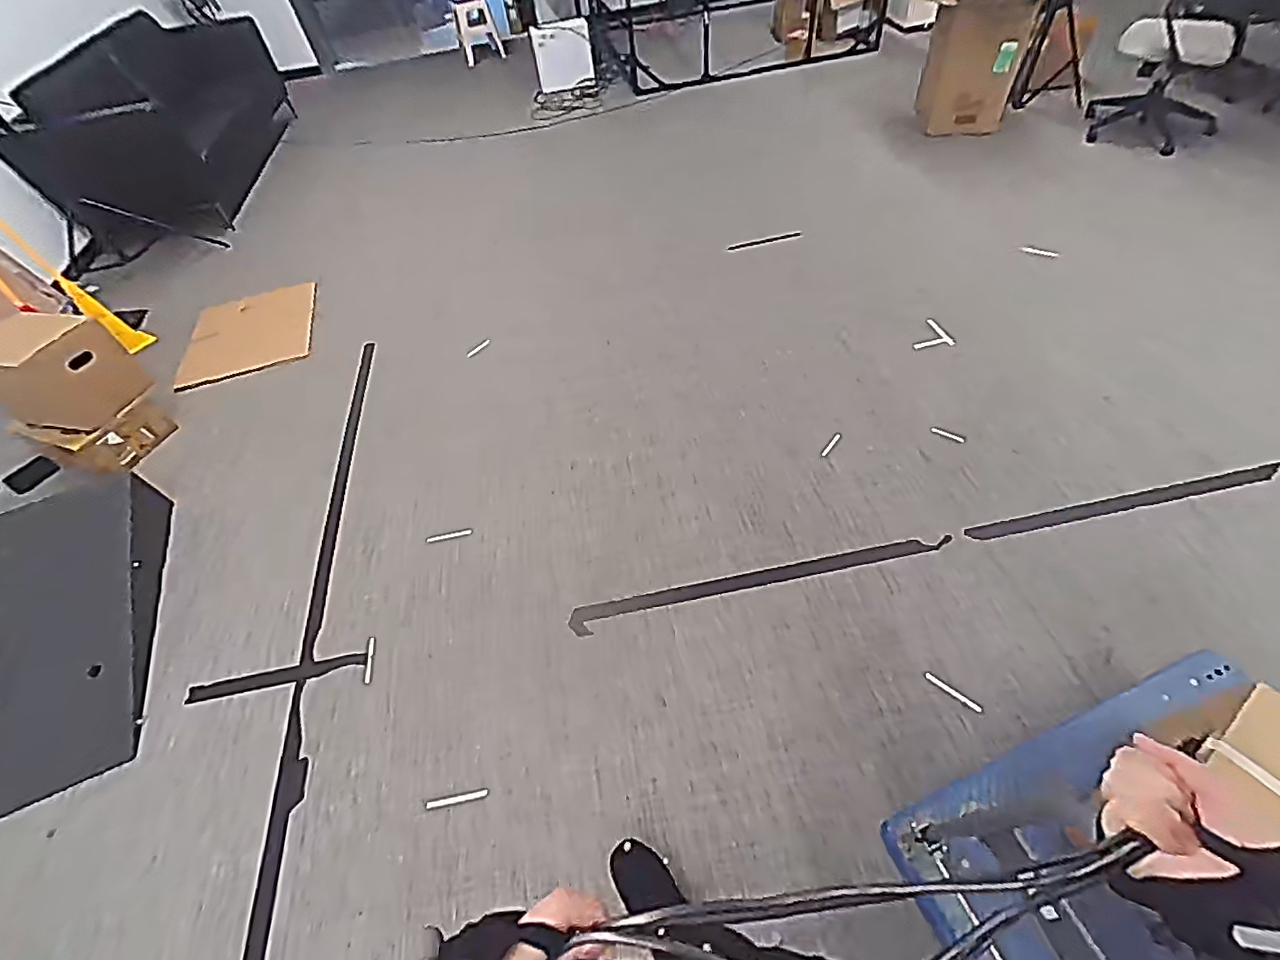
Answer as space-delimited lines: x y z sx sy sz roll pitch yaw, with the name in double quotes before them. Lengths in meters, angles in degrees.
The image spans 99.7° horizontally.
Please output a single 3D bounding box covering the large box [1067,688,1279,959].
"large box" 1.018 0.620 0.845 0.320 0.320 0.408 -35 56 -18
